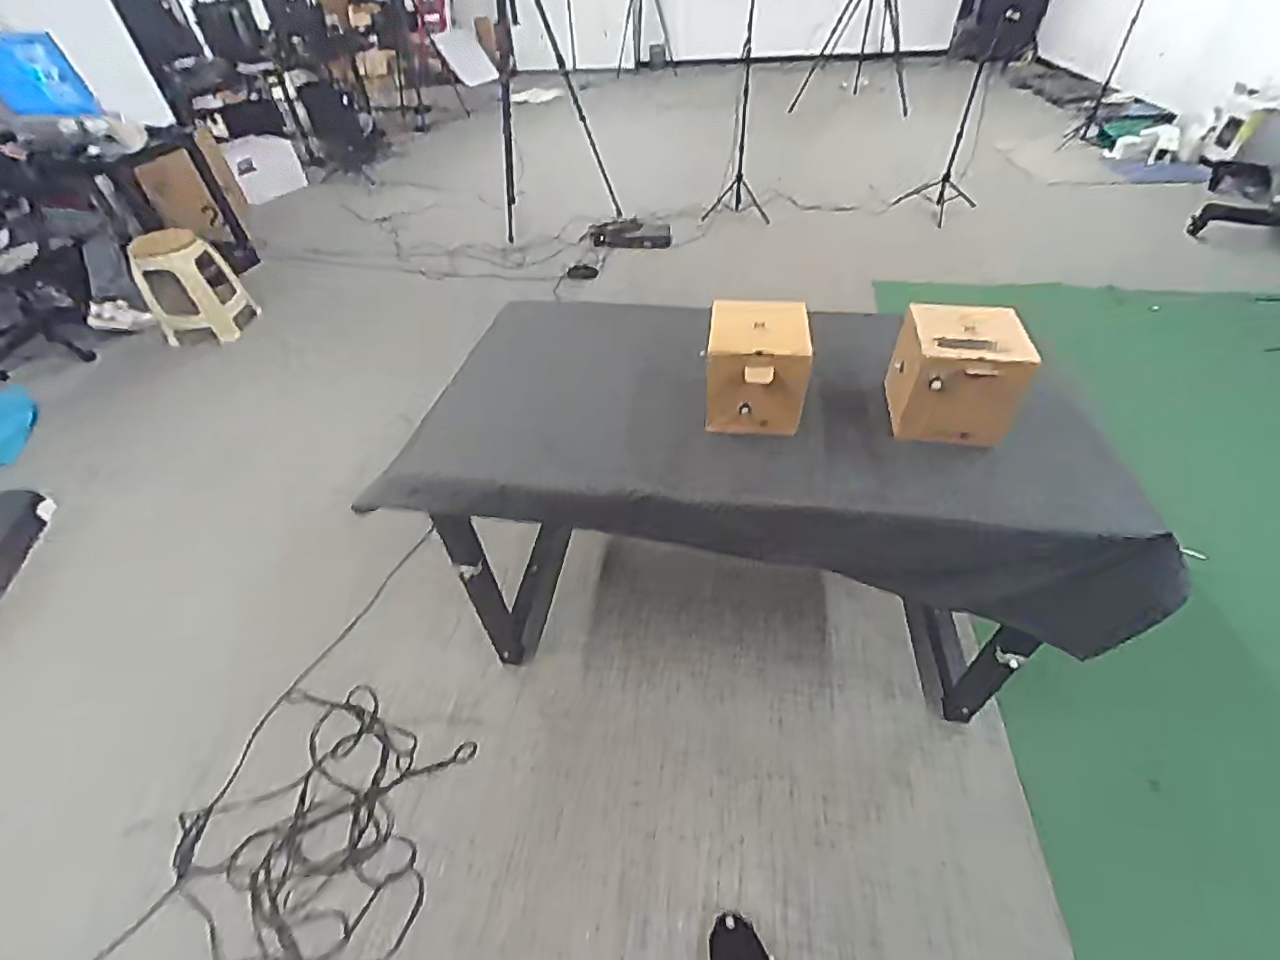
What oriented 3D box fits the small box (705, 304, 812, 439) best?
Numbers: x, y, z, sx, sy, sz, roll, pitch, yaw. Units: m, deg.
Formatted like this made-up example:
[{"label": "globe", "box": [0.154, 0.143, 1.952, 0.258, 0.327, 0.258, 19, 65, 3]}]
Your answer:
[{"label": "small box", "box": [0.207, -0.198, 0.976, 0.168, 0.176, 0.179, 4, 45, 7]}]
